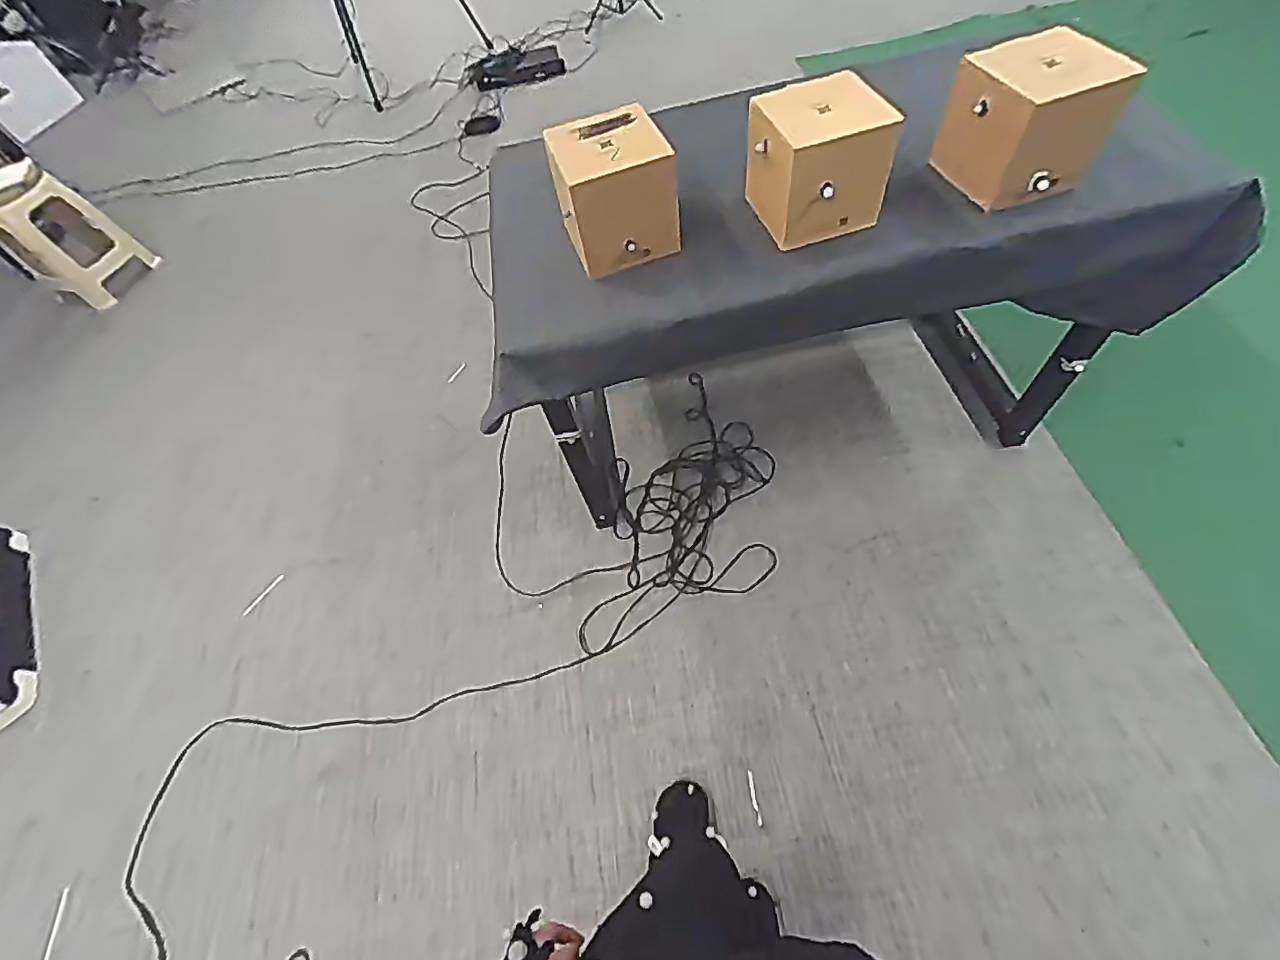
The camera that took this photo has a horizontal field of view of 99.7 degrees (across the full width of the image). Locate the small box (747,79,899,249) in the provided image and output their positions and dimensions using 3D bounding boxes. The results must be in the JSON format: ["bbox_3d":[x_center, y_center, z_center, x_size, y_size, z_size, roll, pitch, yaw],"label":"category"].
[{"bbox_3d":[0.280,-0.497,0.870,0.168,0.176,0.179,-16,57,-2],"label":"small box"}]

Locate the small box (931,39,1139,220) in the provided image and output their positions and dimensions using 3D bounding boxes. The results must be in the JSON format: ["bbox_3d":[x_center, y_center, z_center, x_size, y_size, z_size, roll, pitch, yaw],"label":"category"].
[{"bbox_3d":[0.601,-0.549,0.856,0.168,0.176,0.179,-18,58,-2],"label":"small box"}]
